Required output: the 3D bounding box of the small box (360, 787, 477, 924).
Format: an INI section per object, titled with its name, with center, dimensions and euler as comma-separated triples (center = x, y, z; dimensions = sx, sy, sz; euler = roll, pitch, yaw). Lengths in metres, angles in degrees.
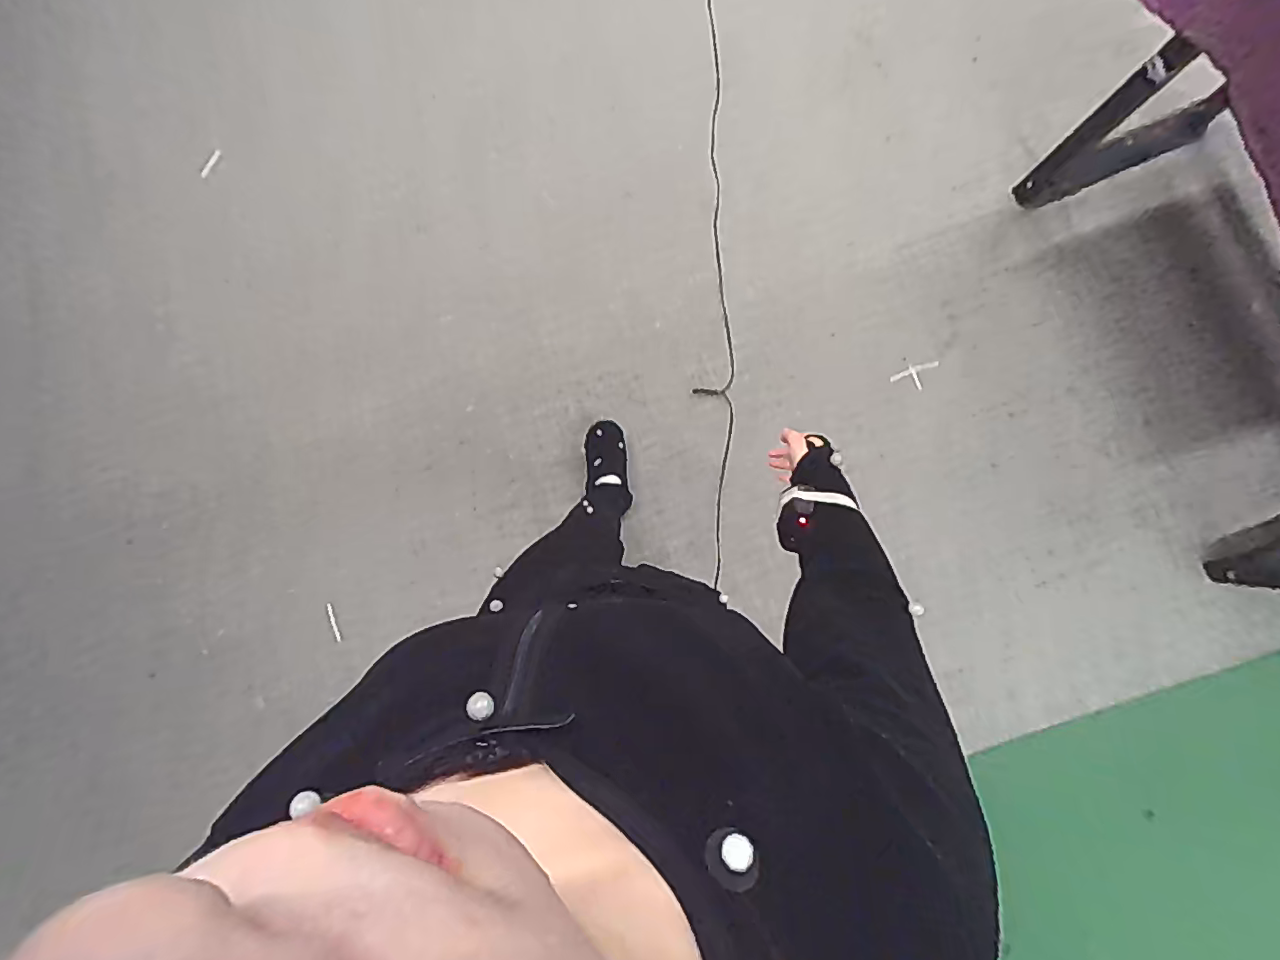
[small box]
center = -0.467, 0.788, 1.160
dimensions = 0.168, 0.176, 0.179
euler = -12, 87, 0
